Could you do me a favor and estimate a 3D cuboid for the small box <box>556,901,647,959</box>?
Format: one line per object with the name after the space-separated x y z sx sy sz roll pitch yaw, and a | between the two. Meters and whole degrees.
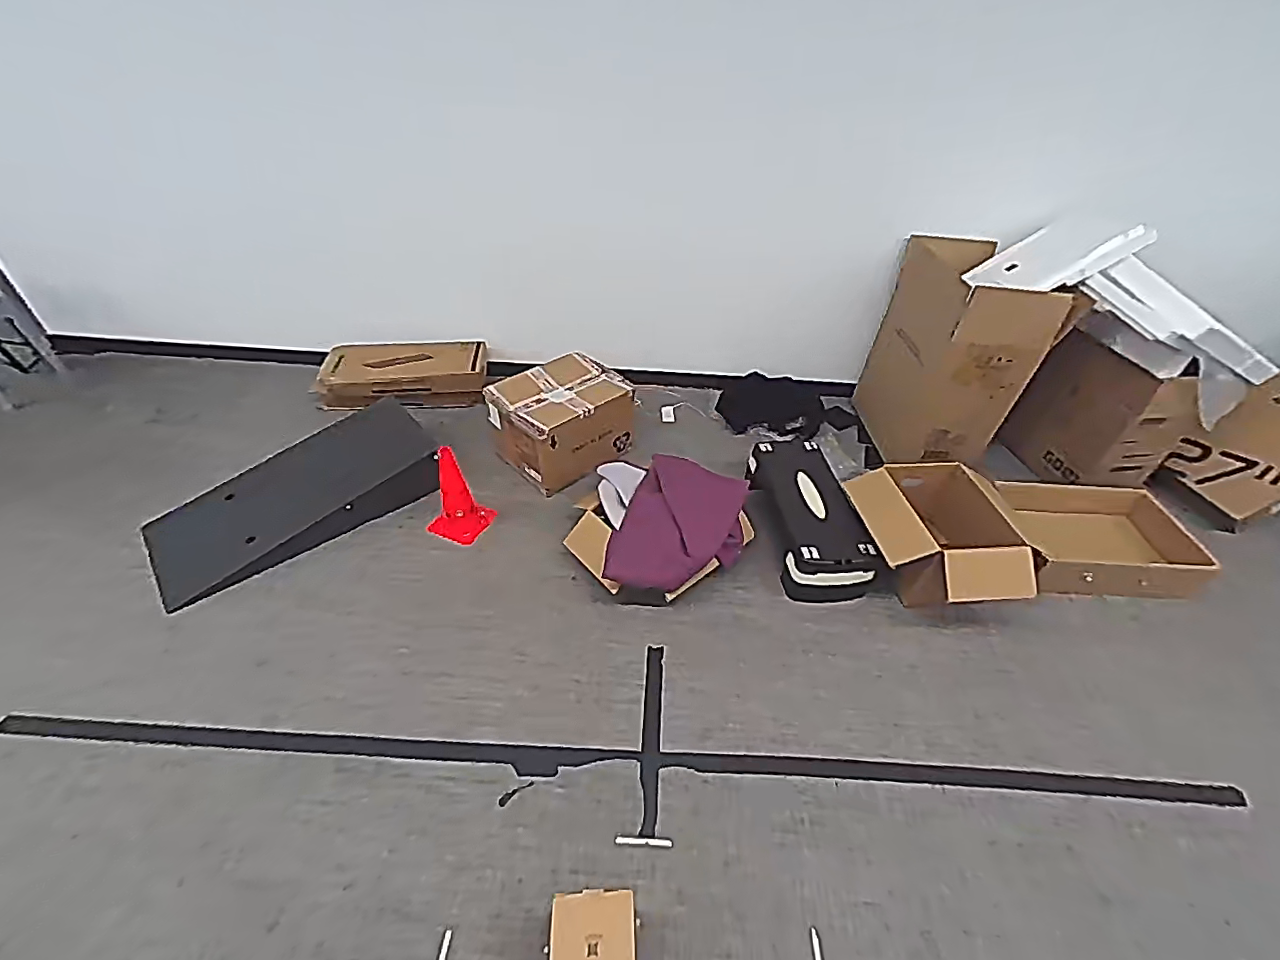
-0.073 0.920 1.012 0.168 0.176 0.179 -1 43 -4 | small box
